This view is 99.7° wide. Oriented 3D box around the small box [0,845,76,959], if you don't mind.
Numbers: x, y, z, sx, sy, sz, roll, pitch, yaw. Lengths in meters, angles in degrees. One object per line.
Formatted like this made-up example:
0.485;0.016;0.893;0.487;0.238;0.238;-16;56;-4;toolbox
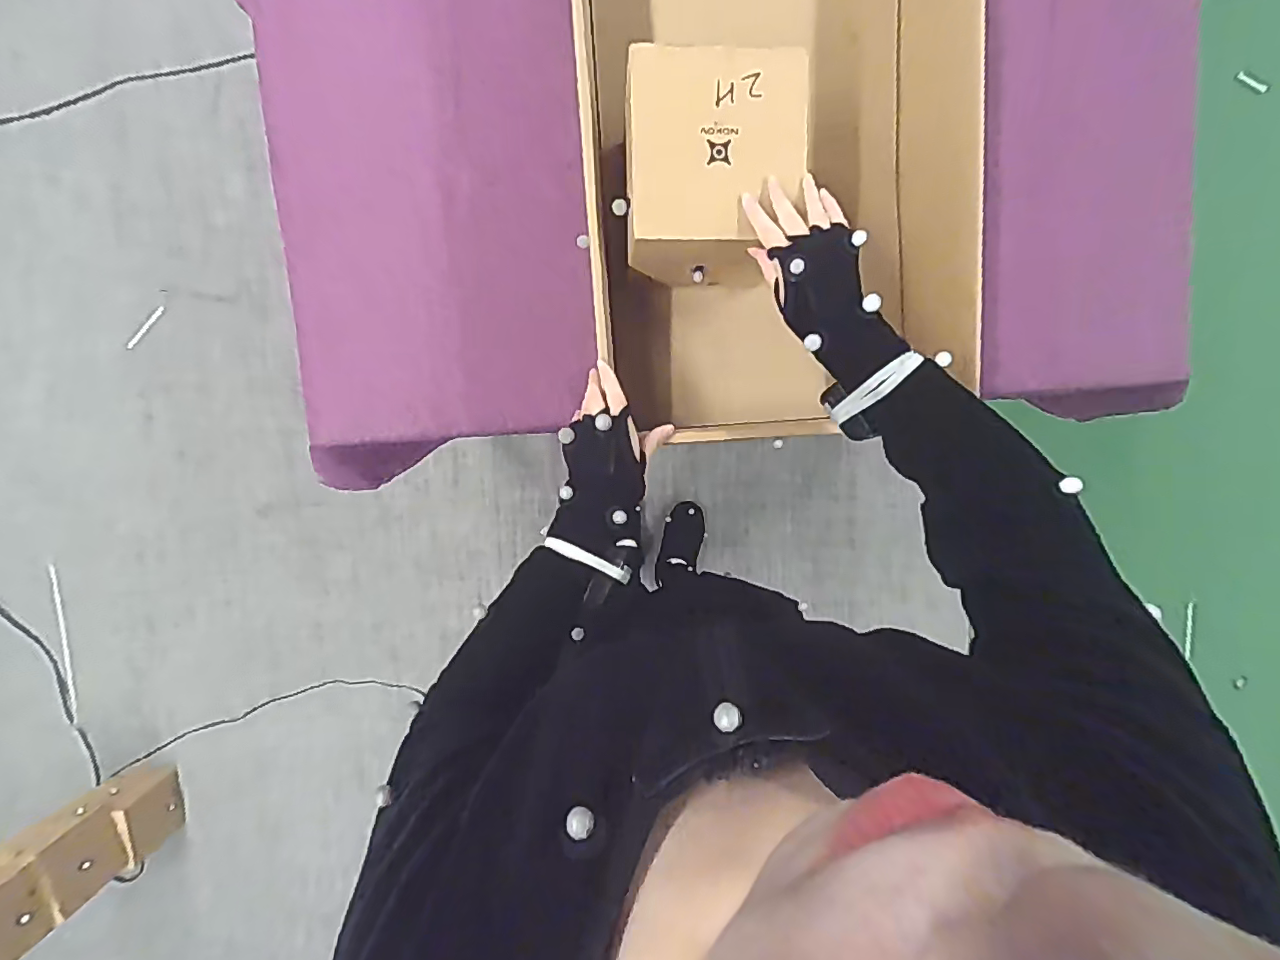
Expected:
-1.388;0.925;1.152;0.179;0.176;0.168;-11;96;0;small box

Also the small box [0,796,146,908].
-1.375;0.905;1.314;0.168;0.176;0.179;-14;97;1;small box

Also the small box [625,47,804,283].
0.068;-0.323;0.591;0.168;0.176;0.179;0;95;-3;small box
